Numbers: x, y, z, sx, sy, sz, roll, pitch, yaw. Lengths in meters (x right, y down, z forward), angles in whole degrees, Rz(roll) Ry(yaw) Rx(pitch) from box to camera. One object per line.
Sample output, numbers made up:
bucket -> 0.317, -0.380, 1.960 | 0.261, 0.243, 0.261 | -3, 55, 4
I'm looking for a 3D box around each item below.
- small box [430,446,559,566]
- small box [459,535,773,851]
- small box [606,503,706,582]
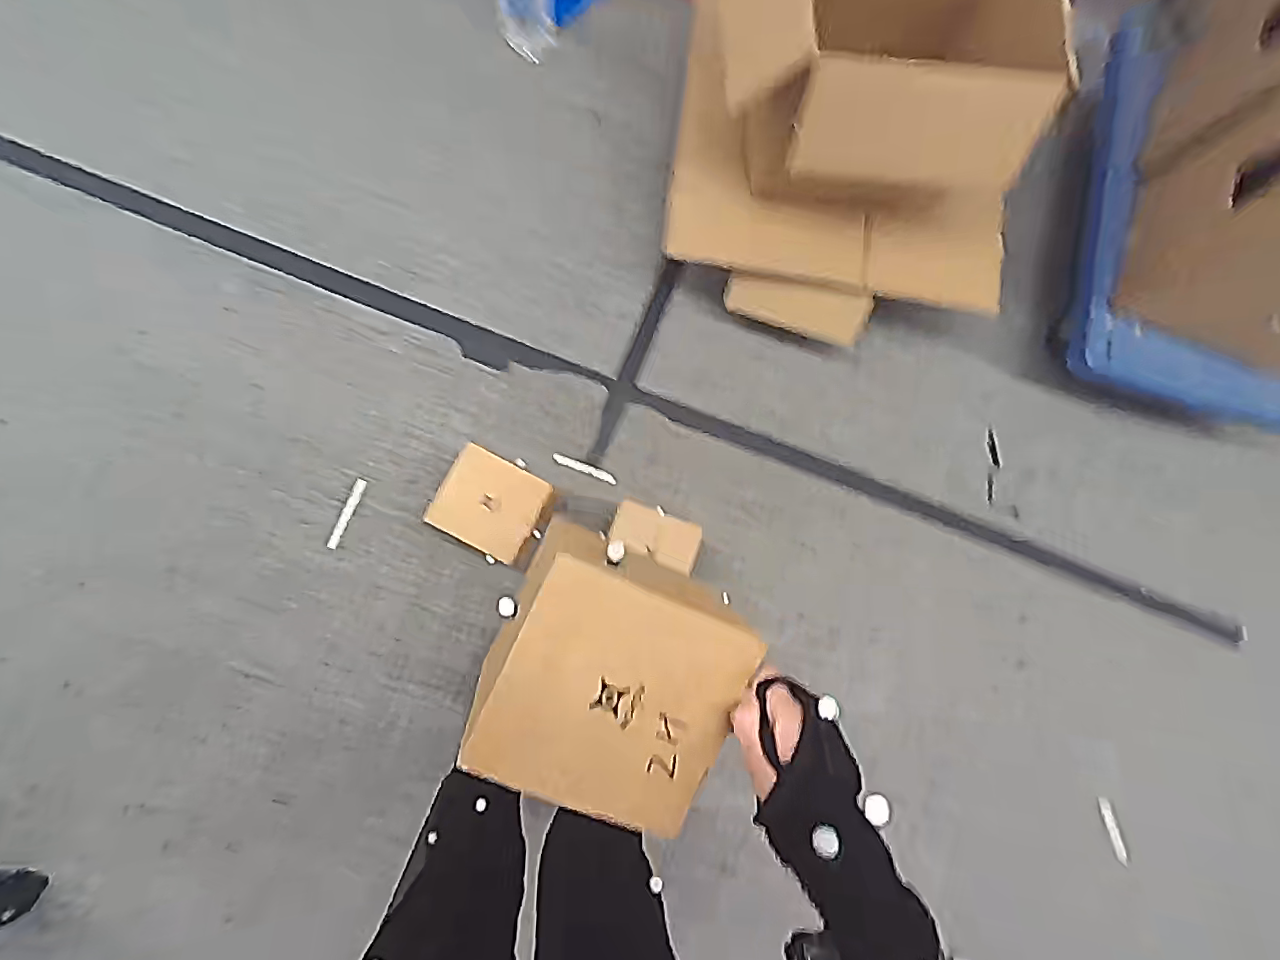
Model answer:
small box -> -0.273, 0.057, 1.057 | 0.179, 0.176, 0.168 | 28, 81, -3
small box -> -0.026, 0.156, 0.457 | 0.179, 0.176, 0.168 | 25, 90, -12
small box -> 0.011, 0.160, 1.077 | 0.168, 0.176, 0.179 | 22, 81, -4
